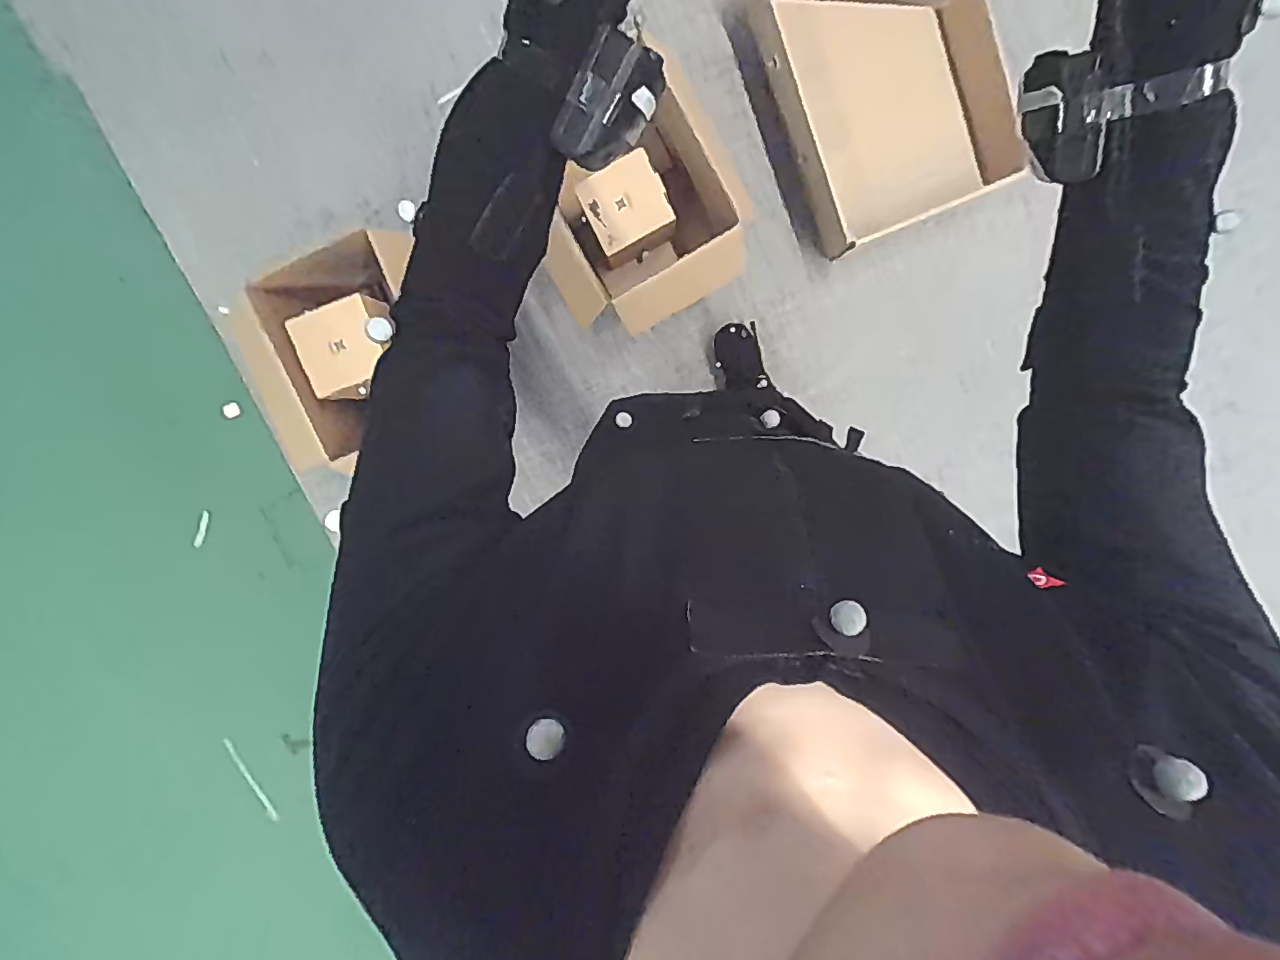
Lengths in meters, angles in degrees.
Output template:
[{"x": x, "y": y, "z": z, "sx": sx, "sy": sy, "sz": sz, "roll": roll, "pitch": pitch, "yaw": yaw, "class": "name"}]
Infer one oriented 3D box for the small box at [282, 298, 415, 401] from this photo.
[{"x": -0.623, "y": -0.281, "z": 1.188, "sx": 0.179, "sy": 0.176, "sz": 0.168, "roll": -20, "pitch": 97, "yaw": 5, "class": "small box"}]
